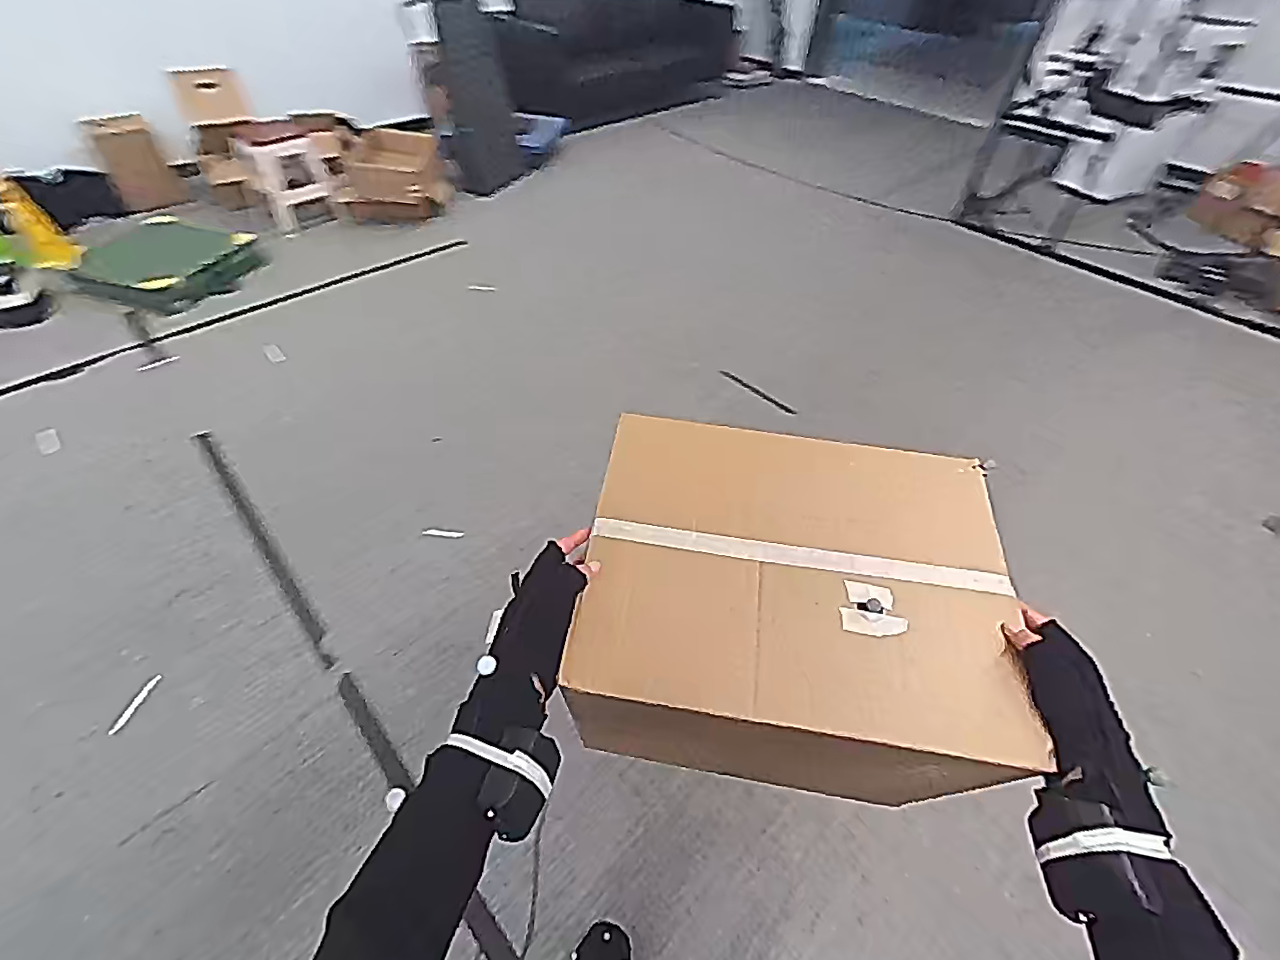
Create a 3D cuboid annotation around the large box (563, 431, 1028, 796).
[{"bbox_3d":[0.141,0.172,0.664,0.408,0.320,0.320,7,56,4],"label":"large box"}]
